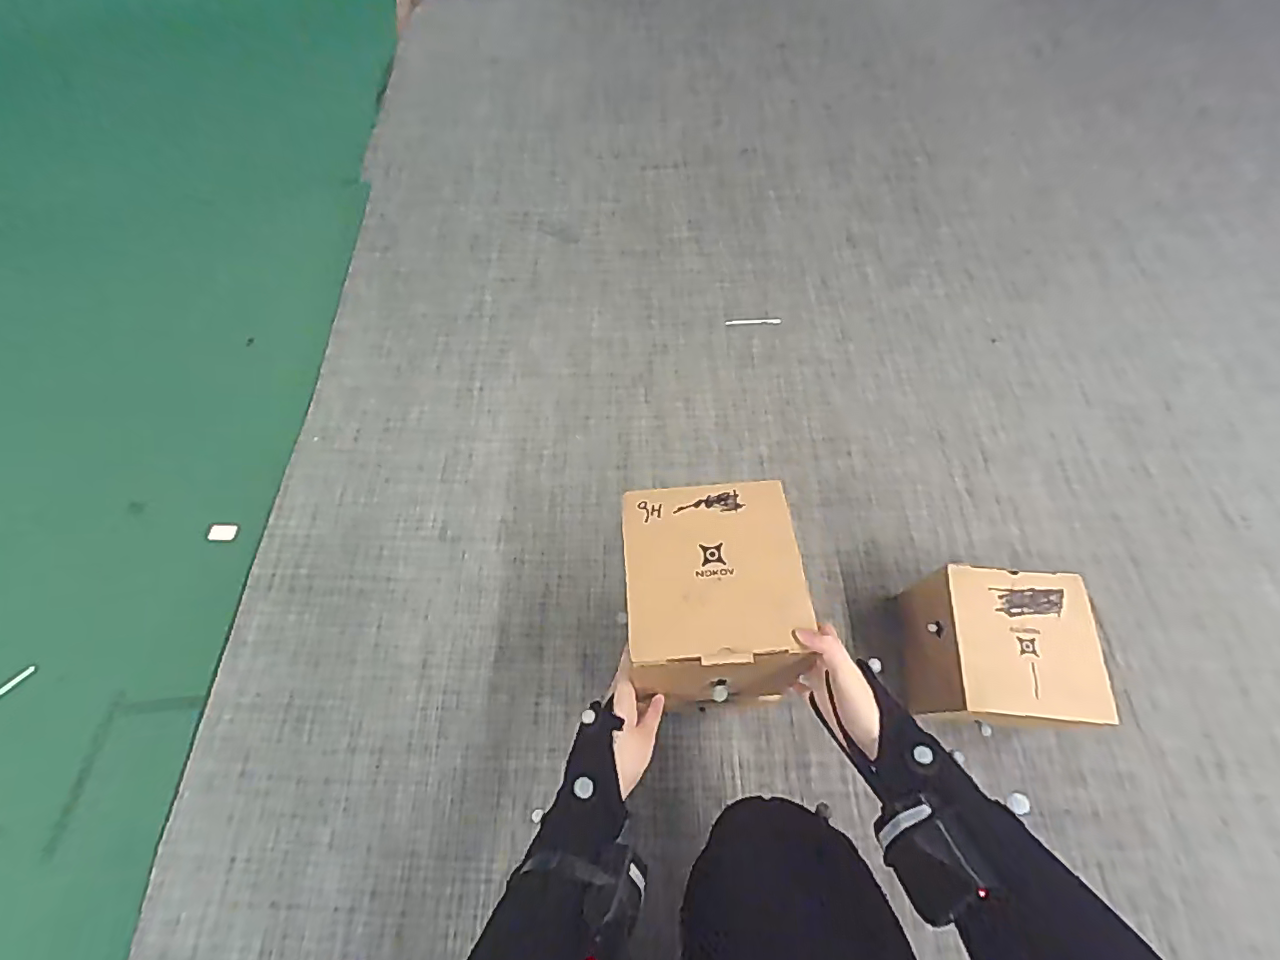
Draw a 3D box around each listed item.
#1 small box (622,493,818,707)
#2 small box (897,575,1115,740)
[{"bbox_3d":[0.070,0.134,0.569,0.168,0.176,0.179,-4,57,-1],"label":"small box"},{"bbox_3d":[0.460,0.239,0.716,0.168,0.176,0.179,4,64,5],"label":"small box"}]
